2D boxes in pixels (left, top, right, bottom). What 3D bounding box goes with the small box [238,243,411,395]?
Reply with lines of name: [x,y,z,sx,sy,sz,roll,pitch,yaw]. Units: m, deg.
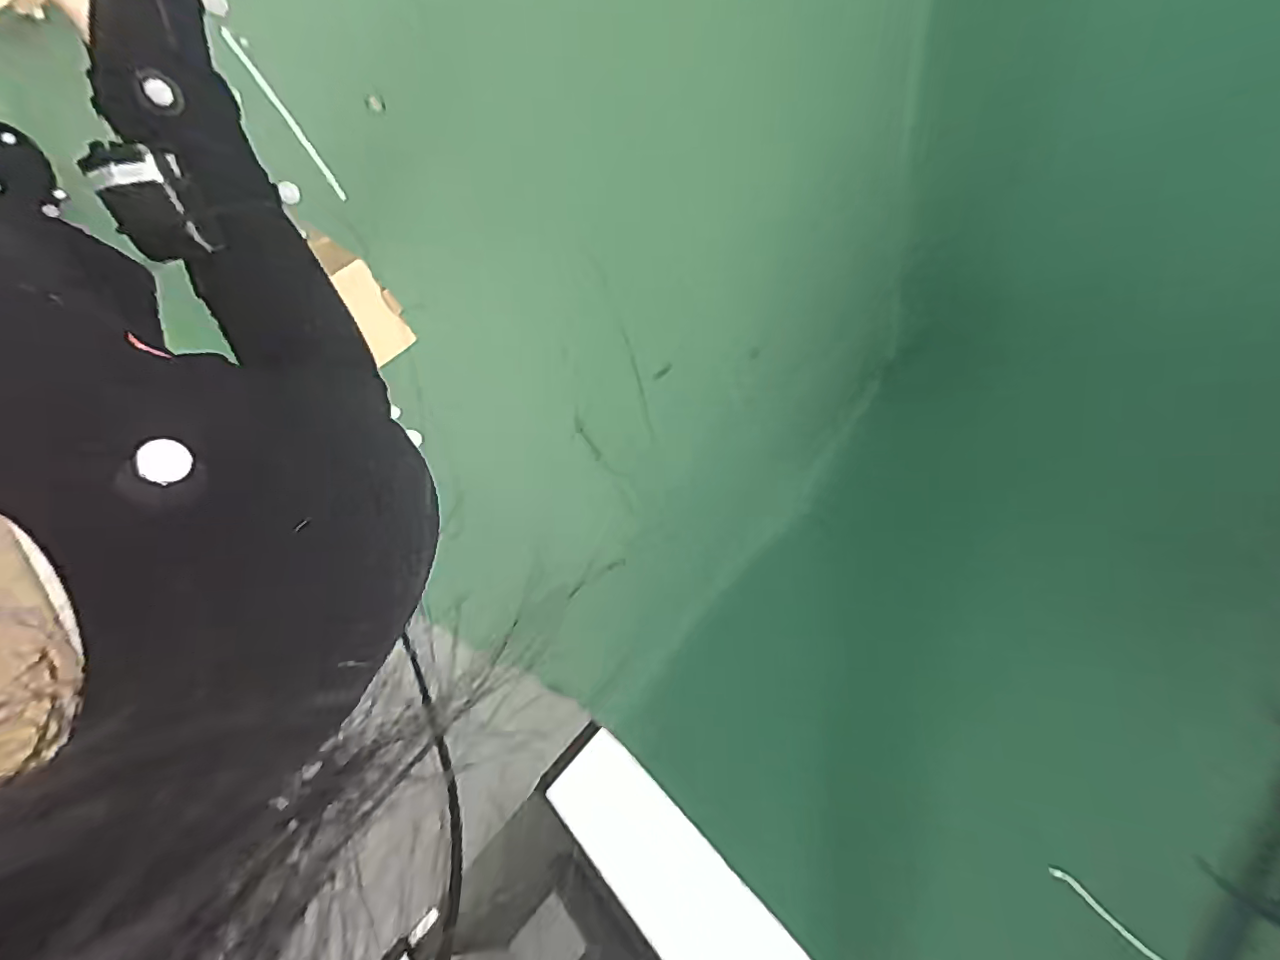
small box: [-0.545,-0.285,0.938,0.179,0.176,0.168,-43,143,-18]

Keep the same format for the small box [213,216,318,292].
small box: [-0.757,-0.434,1.142,0.179,0.176,0.168,-40,141,-21]
